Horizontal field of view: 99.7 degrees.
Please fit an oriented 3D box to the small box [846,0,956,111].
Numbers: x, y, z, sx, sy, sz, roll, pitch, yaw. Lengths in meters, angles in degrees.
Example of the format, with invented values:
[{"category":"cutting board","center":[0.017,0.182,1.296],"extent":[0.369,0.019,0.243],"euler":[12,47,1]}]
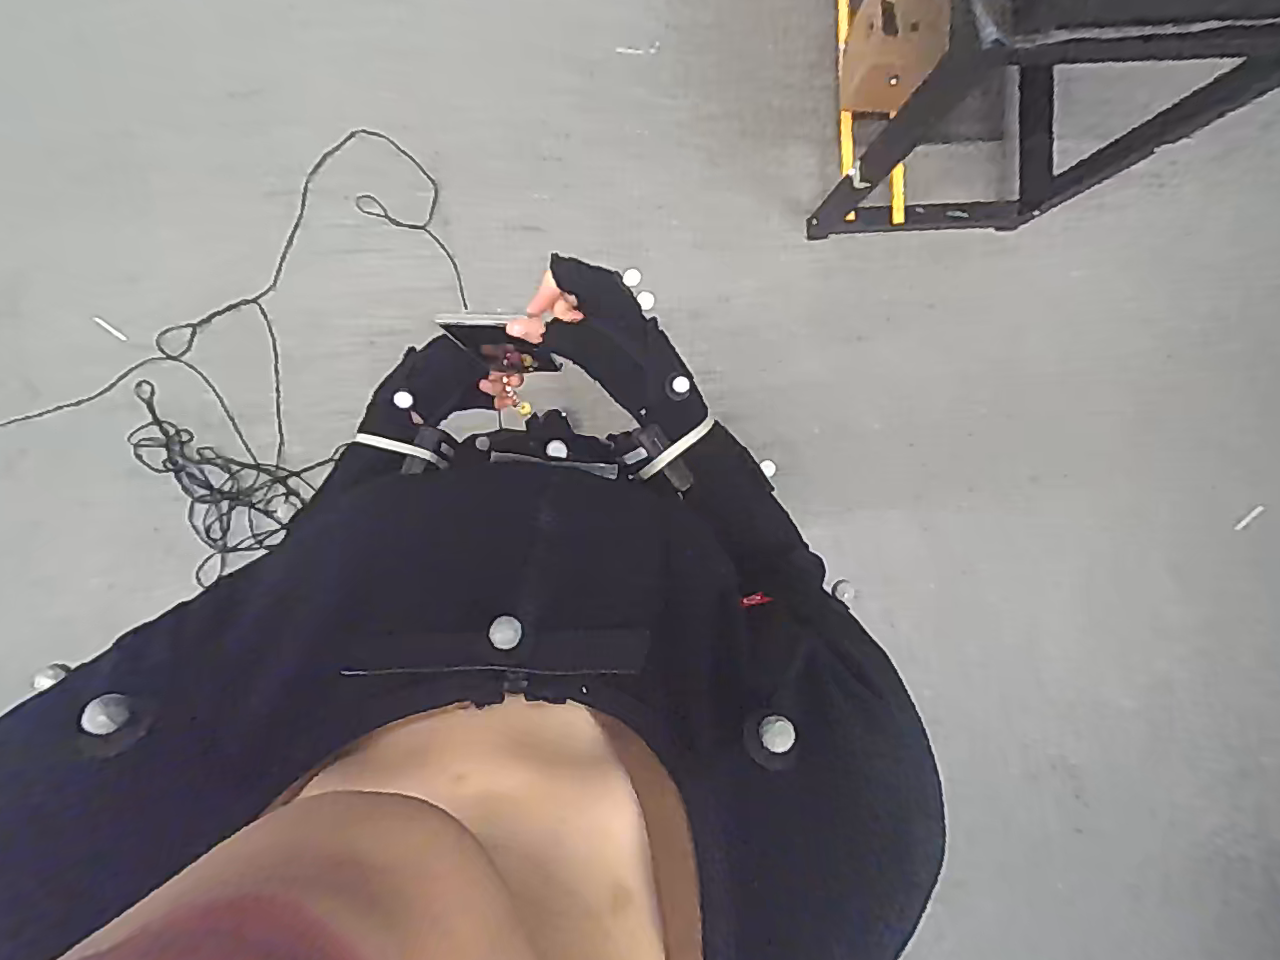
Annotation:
[{"category":"small box","center":[0.587,-0.977,1.236],"extent":[0.179,0.176,0.168],"euler":[0,94,-1]}]
